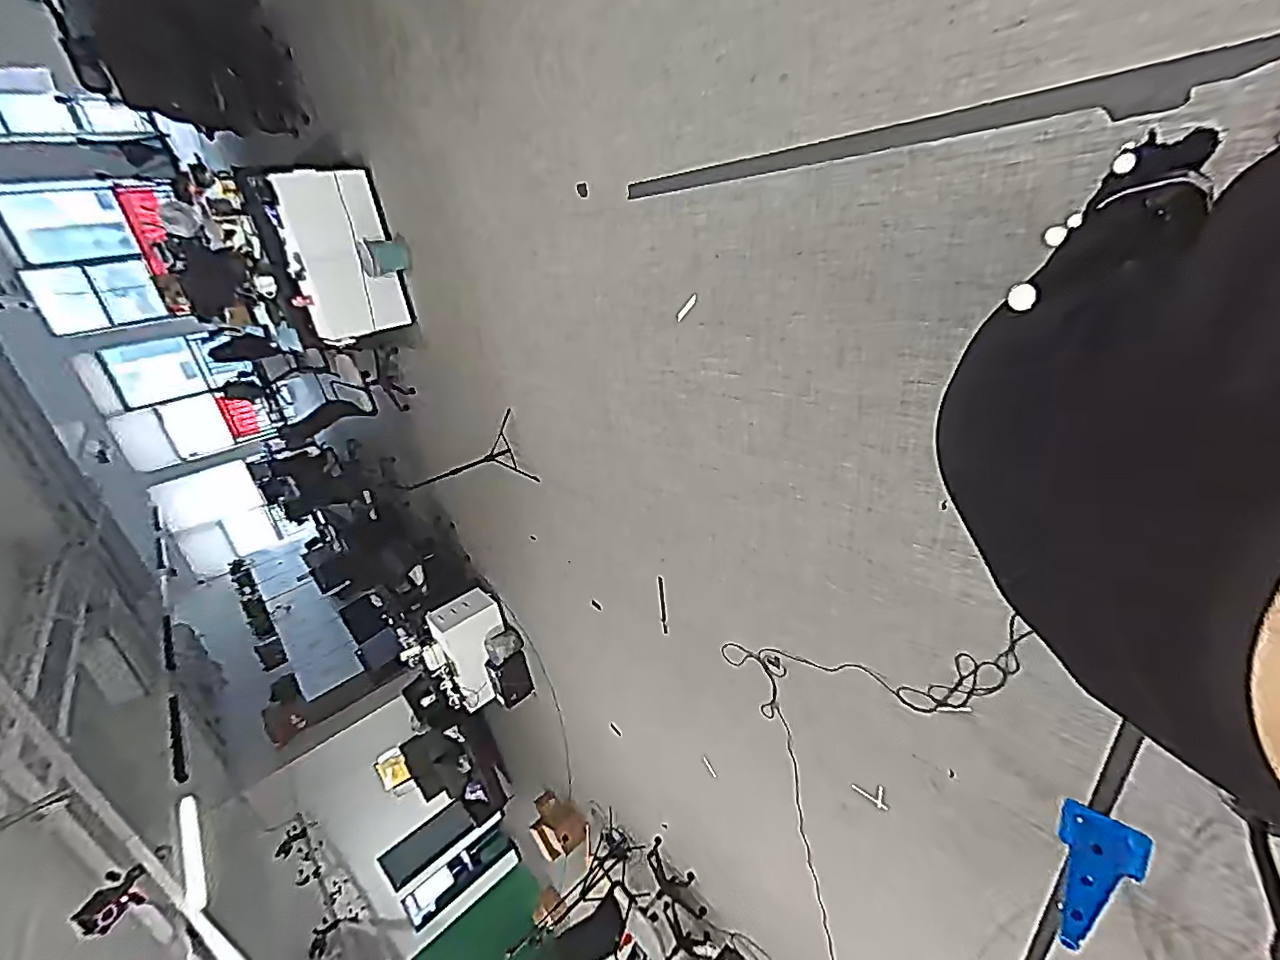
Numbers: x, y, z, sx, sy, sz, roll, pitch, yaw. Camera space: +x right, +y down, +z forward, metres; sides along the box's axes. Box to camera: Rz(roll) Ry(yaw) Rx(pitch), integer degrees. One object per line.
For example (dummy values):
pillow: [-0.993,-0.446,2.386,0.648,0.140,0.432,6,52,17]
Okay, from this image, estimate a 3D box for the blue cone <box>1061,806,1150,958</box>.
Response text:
blue cone: [1.236,1.123,1.486,0.192,0.380,0.193,16,125,46]
